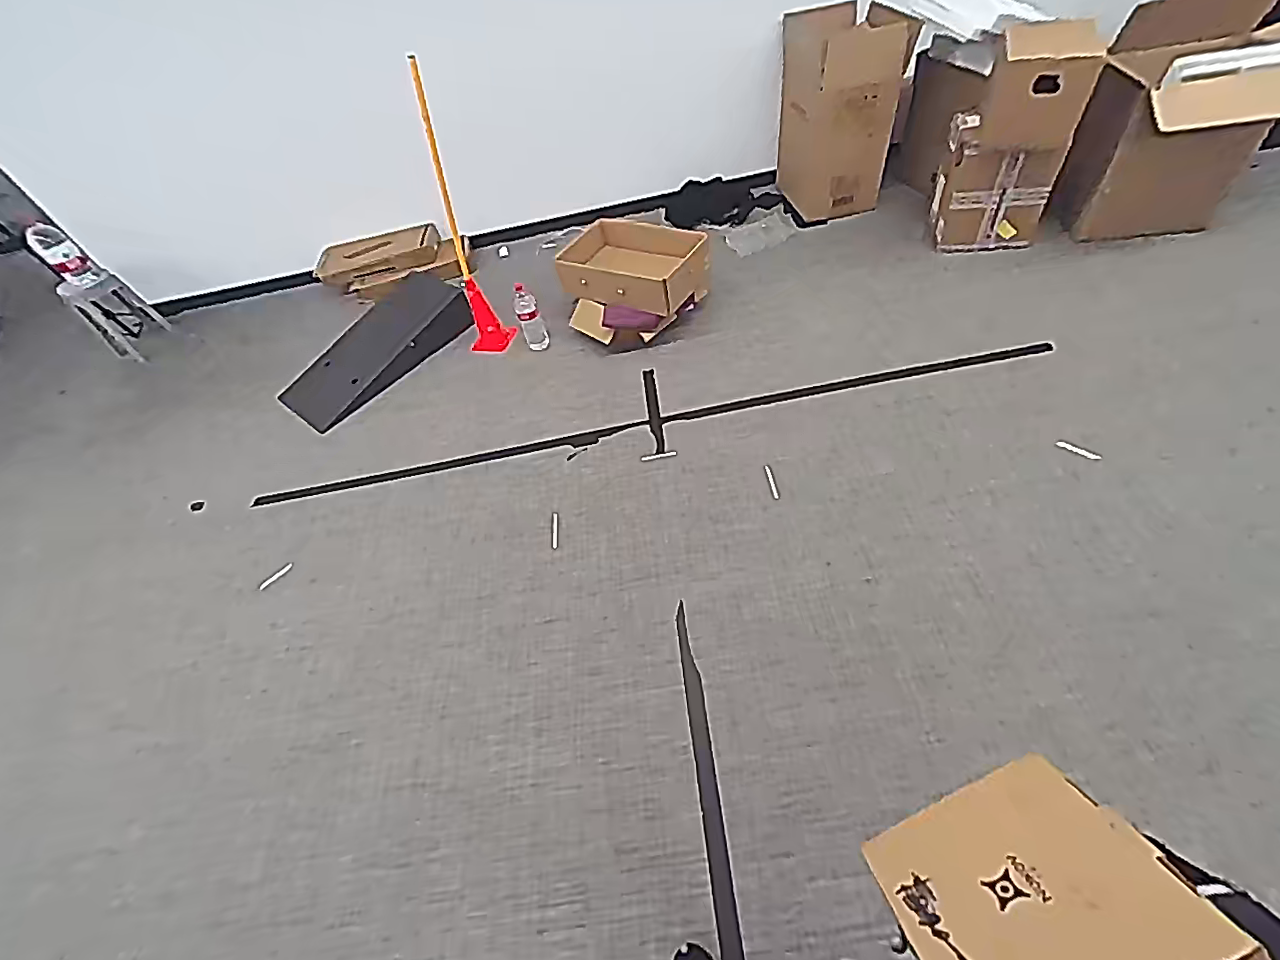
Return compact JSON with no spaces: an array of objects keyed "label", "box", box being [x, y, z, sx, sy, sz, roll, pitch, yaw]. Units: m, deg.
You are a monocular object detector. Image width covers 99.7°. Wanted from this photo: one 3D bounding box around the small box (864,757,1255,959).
[{"label":"small box","box":[0.313,0.365,0.412,0.179,0.176,0.168,-29,10,2]}]
